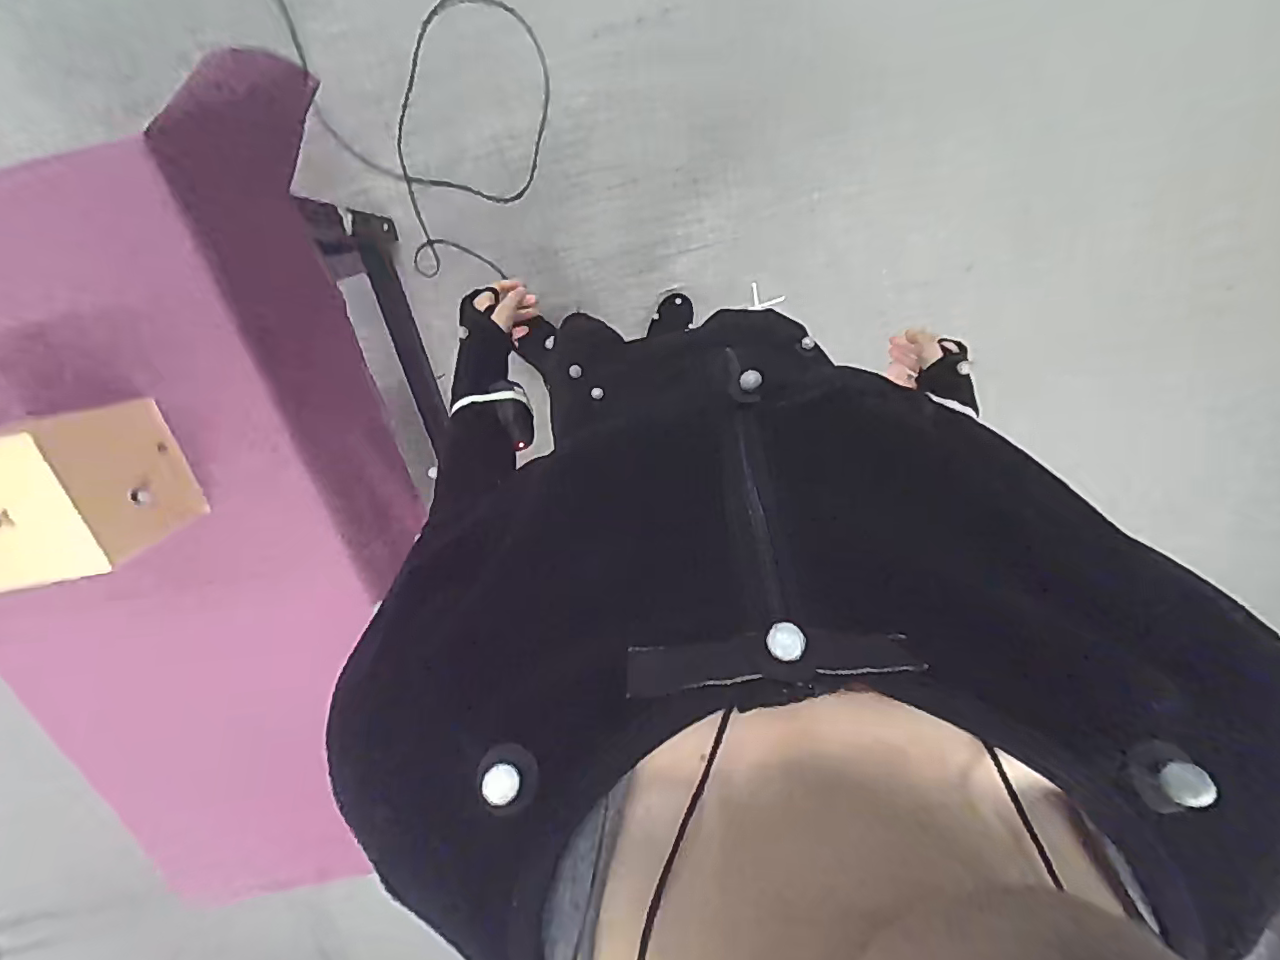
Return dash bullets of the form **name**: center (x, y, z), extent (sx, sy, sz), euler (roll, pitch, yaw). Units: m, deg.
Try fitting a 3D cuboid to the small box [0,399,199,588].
- **small box**: center (-0.692, 0.010, 0.655), extent (0.179, 0.176, 0.168), euler (-11, 111, 3)
